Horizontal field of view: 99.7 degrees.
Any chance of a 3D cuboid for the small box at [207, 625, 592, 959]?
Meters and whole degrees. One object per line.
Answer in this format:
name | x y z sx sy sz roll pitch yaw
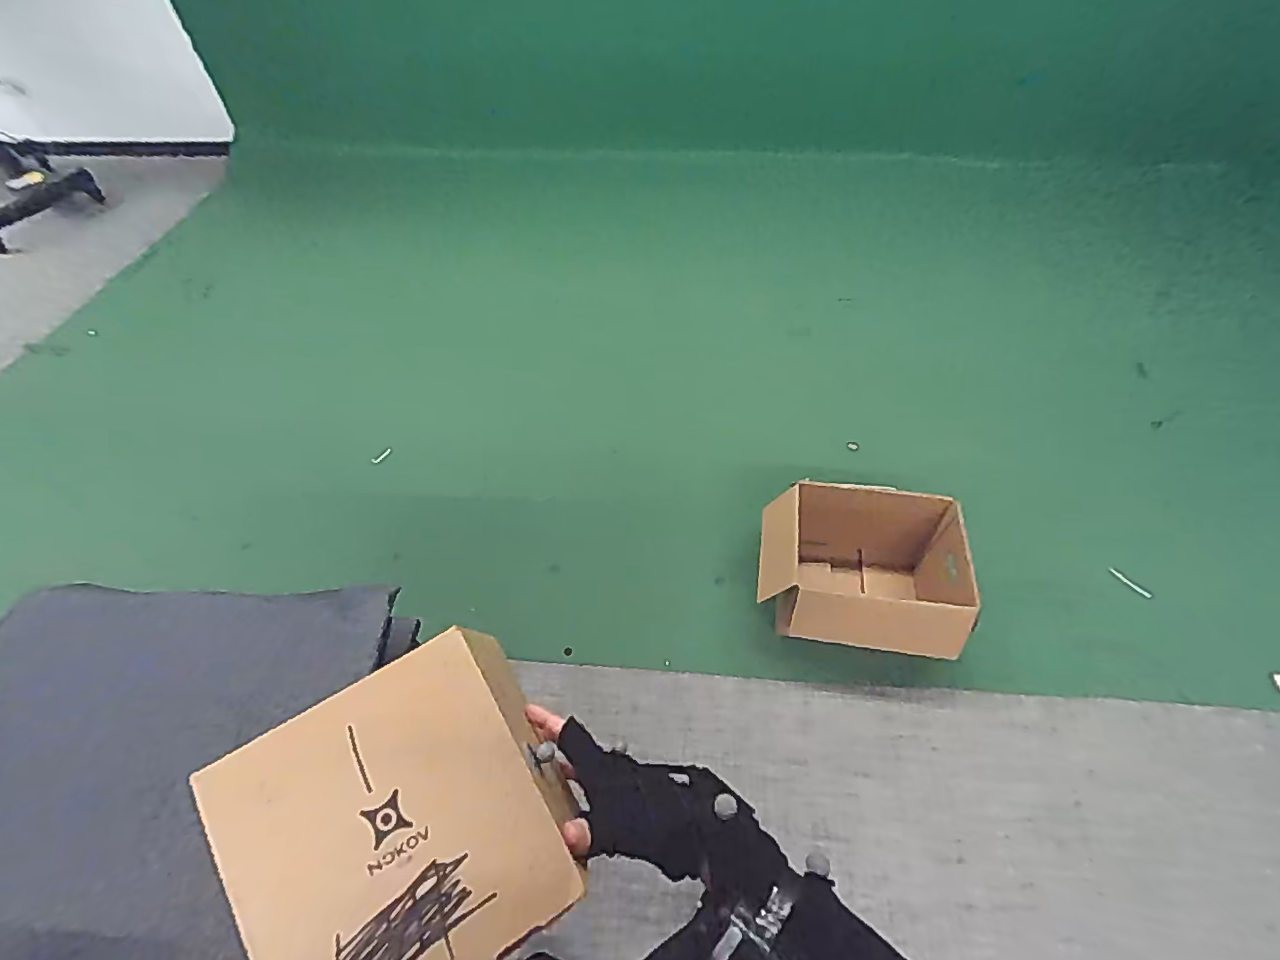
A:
small box | -0.145 0.224 0.386 0.168 0.176 0.179 -28 76 -15
